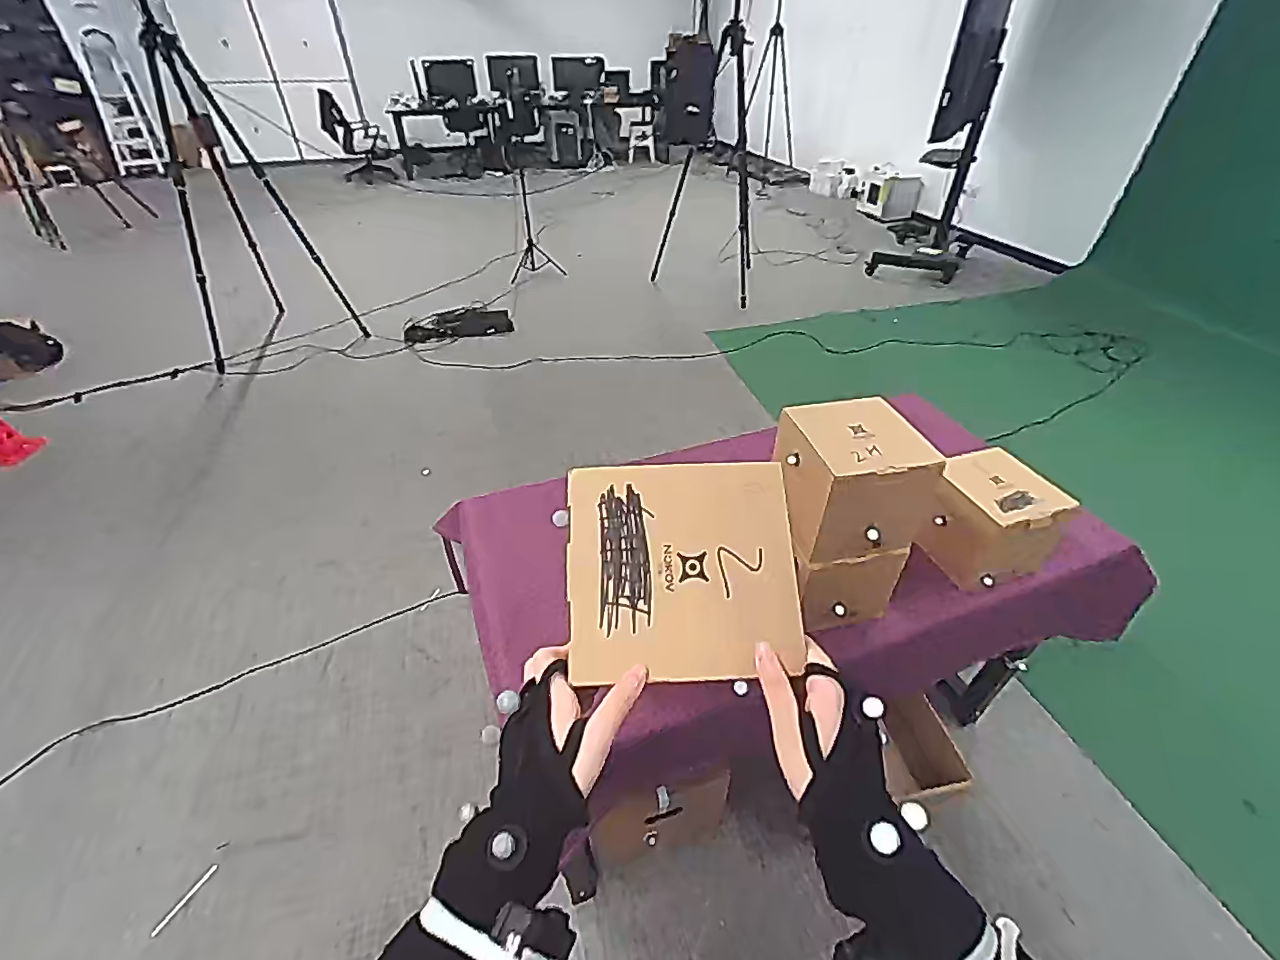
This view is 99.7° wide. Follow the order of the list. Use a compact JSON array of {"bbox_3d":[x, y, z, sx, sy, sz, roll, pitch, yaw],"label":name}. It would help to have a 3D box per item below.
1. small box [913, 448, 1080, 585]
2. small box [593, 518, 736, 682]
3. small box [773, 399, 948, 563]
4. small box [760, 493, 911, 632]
[{"bbox_3d":[0.627,0.071,0.985,0.168,0.176,0.179,-12,40,-13],"label":"small box"},{"bbox_3d":[0.035,0.190,0.851,0.179,0.176,0.168,-12,42,-12],"label":"small box"},{"bbox_3d":[0.316,-0.001,0.822,0.168,0.176,0.179,-8,41,-8],"label":"small box"},{"bbox_3d":[0.317,0.130,0.923,0.168,0.176,0.179,-8,41,-9],"label":"small box"}]
